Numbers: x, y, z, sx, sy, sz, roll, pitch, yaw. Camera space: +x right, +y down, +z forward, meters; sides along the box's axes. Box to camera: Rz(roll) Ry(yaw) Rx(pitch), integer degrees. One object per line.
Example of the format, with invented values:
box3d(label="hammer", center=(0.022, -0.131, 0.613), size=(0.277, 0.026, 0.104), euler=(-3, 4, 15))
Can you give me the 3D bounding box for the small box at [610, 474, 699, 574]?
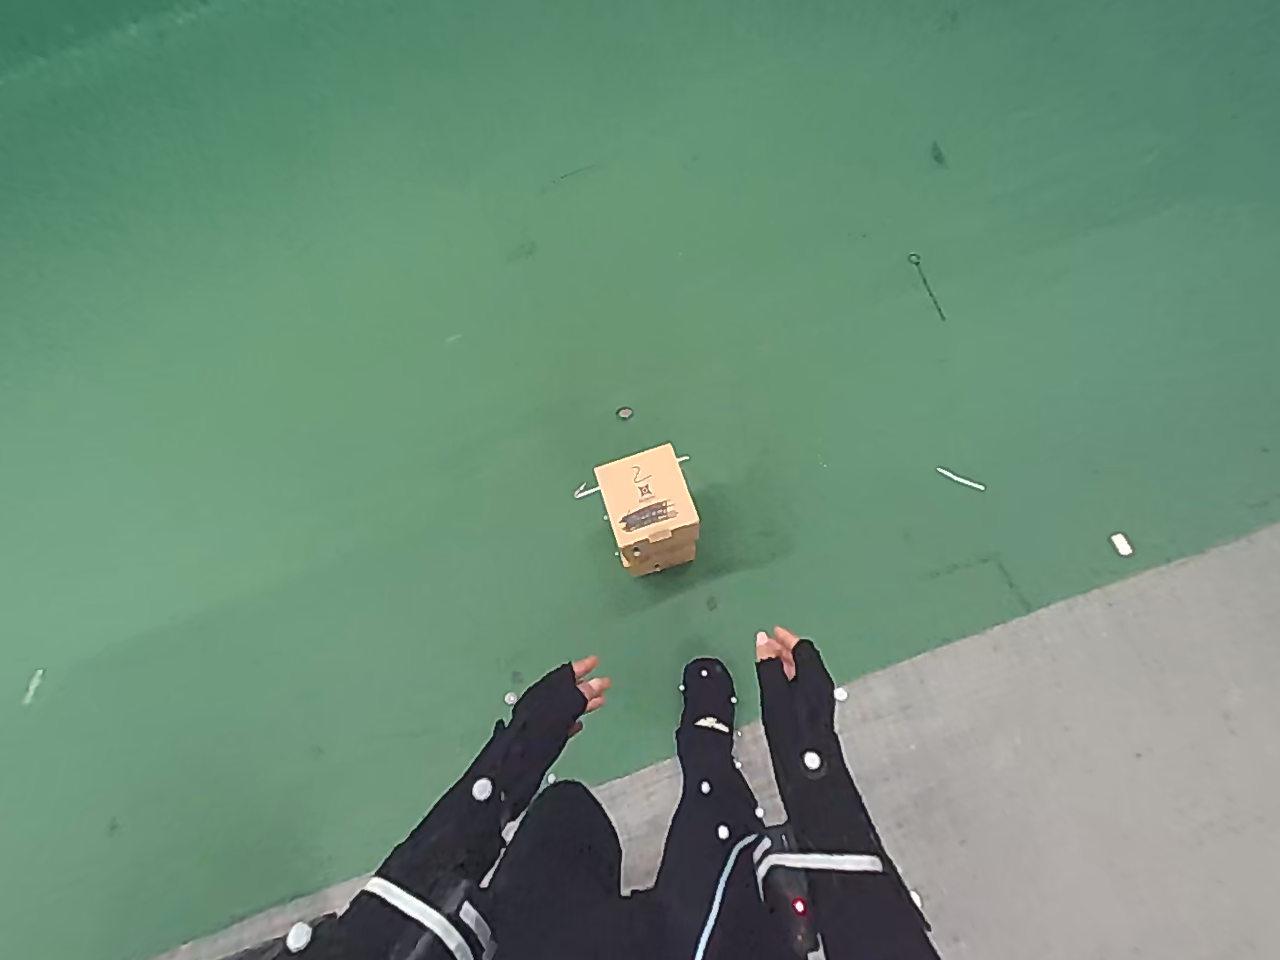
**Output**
box3d(label="small box", center=(0.035, 0.111, 1.288), size=(0.168, 0.176, 0.179), euler=(-18, 72, -1))
